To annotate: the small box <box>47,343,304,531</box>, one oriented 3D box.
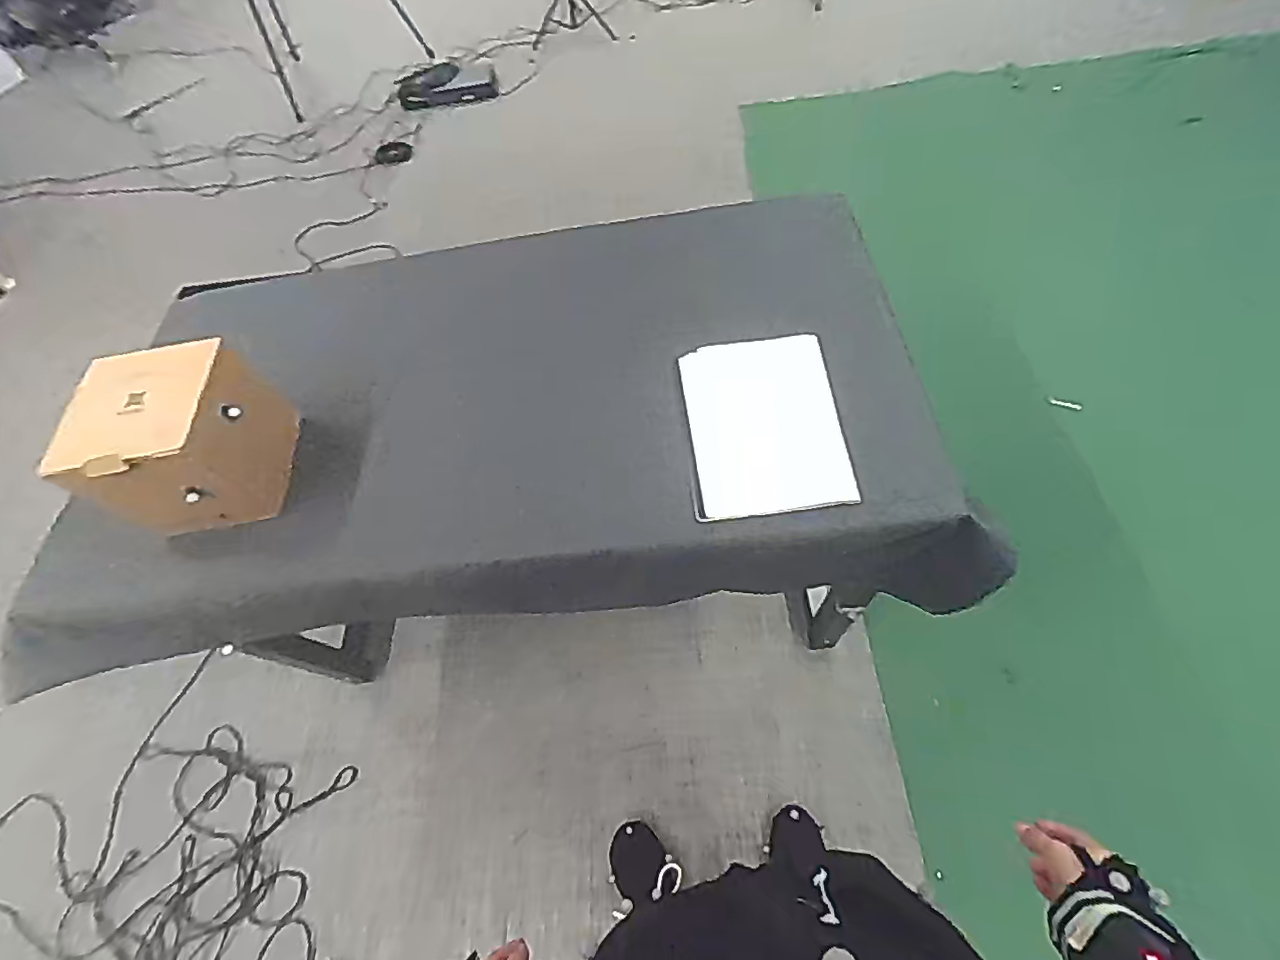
[{"bbox_3d":[-0.578,-0.046,0.706,0.168,0.176,0.179,-10,58,0],"label":"small box"}]
